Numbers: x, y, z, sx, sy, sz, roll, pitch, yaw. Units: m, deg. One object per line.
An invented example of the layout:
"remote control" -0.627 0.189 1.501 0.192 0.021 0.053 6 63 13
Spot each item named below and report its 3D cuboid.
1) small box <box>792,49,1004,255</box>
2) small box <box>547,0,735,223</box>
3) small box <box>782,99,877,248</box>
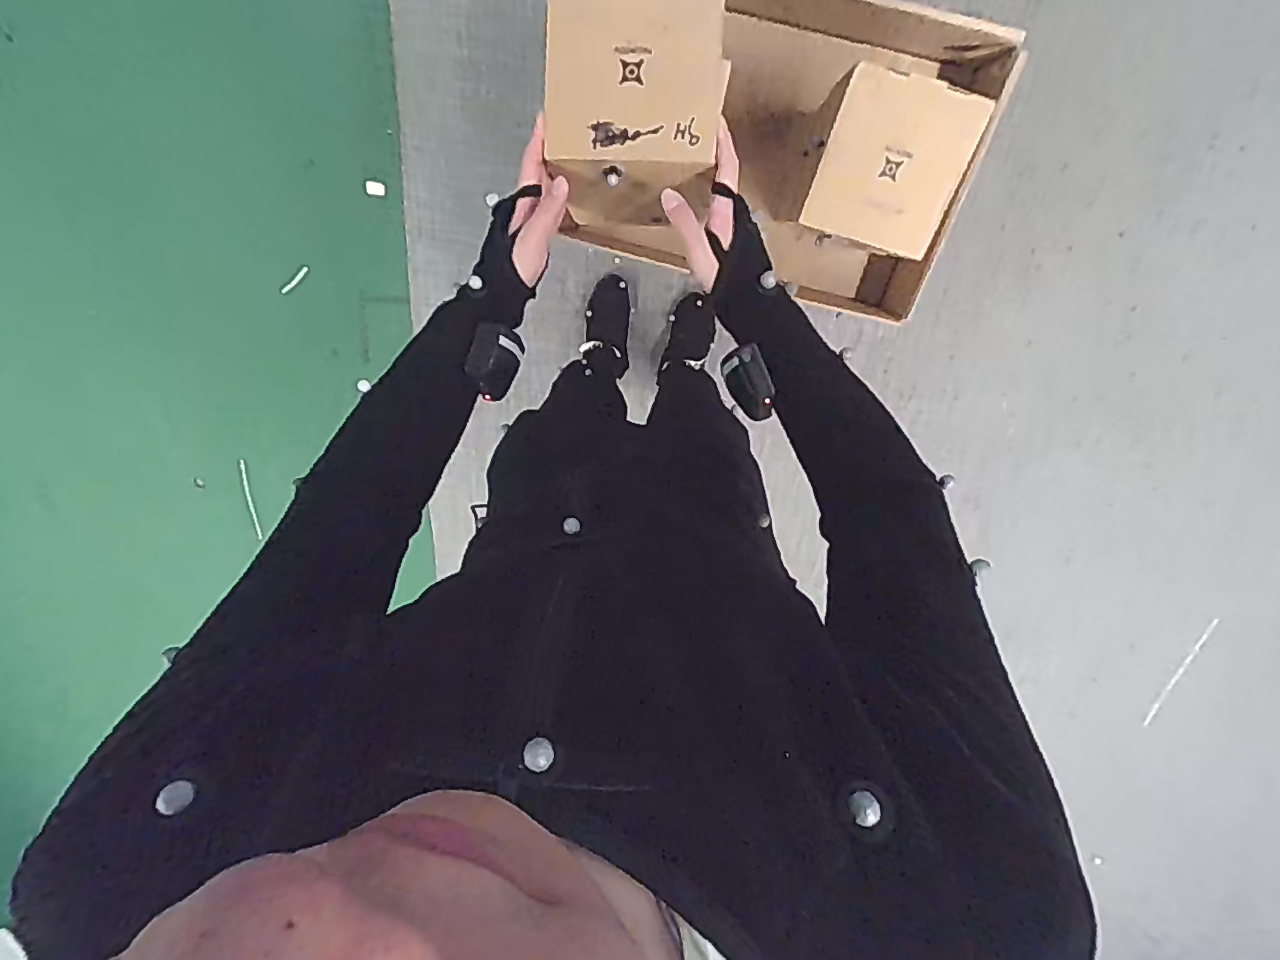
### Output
"small box" 0.312 -0.411 0.704 0.168 0.176 0.179 17 117 -1
"small box" 0.003 -0.395 0.568 0.168 0.176 0.179 3 96 3
"small box" 0.335 -0.482 0.849 0.168 0.176 0.179 18 117 -1
